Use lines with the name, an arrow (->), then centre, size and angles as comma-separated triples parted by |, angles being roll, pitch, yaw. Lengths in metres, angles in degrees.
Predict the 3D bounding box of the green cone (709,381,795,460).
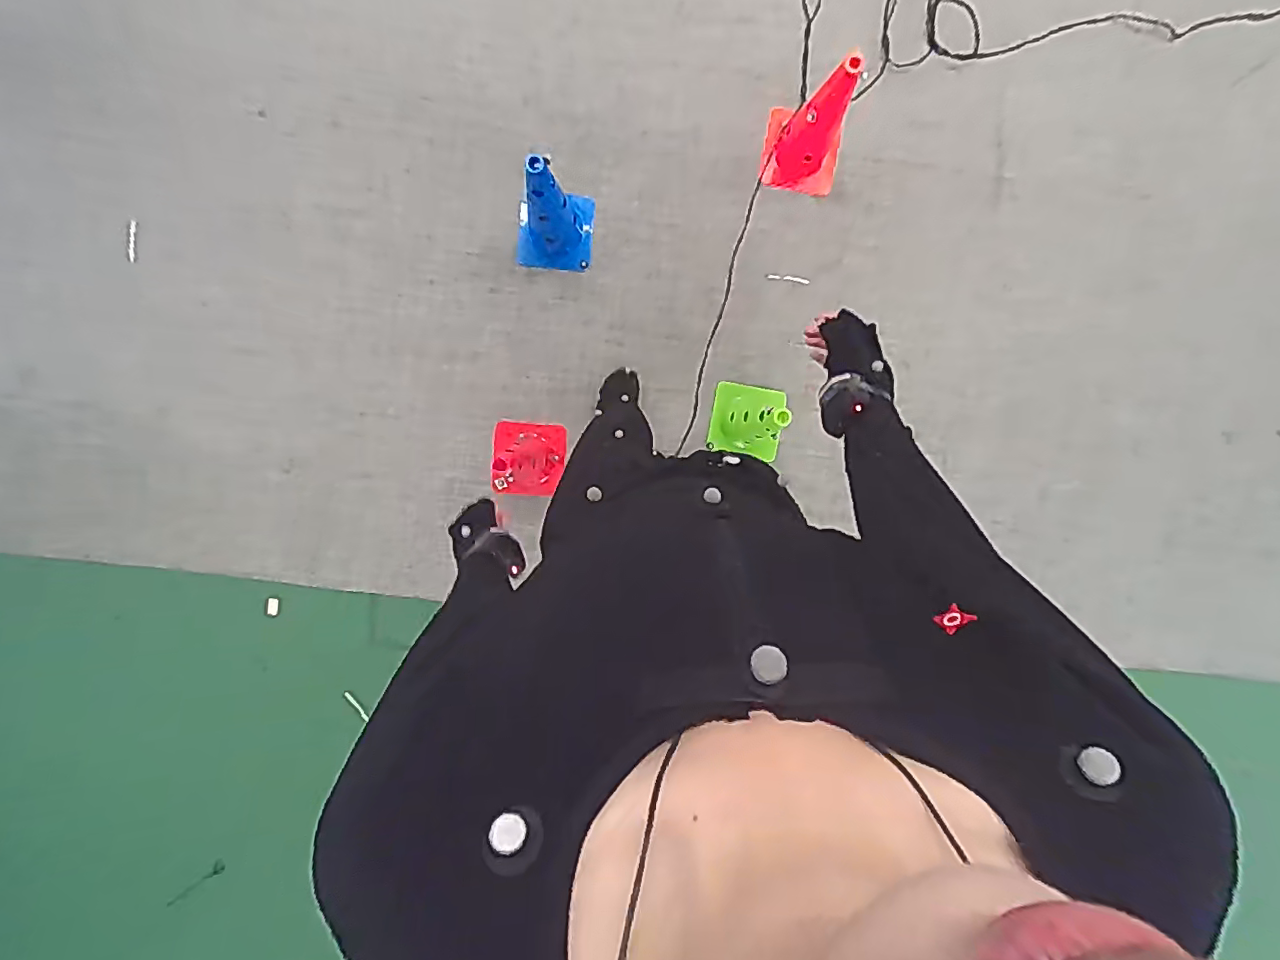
green cone -> 0.307, -0.153, 1.322 | 0.200, 0.368, 0.202 | 9, 93, -2

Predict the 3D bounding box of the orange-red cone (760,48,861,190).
orange-red cone -> 0.433, -0.871, 1.271 | 0.198, 0.360, 0.199 | 11, 96, -1
